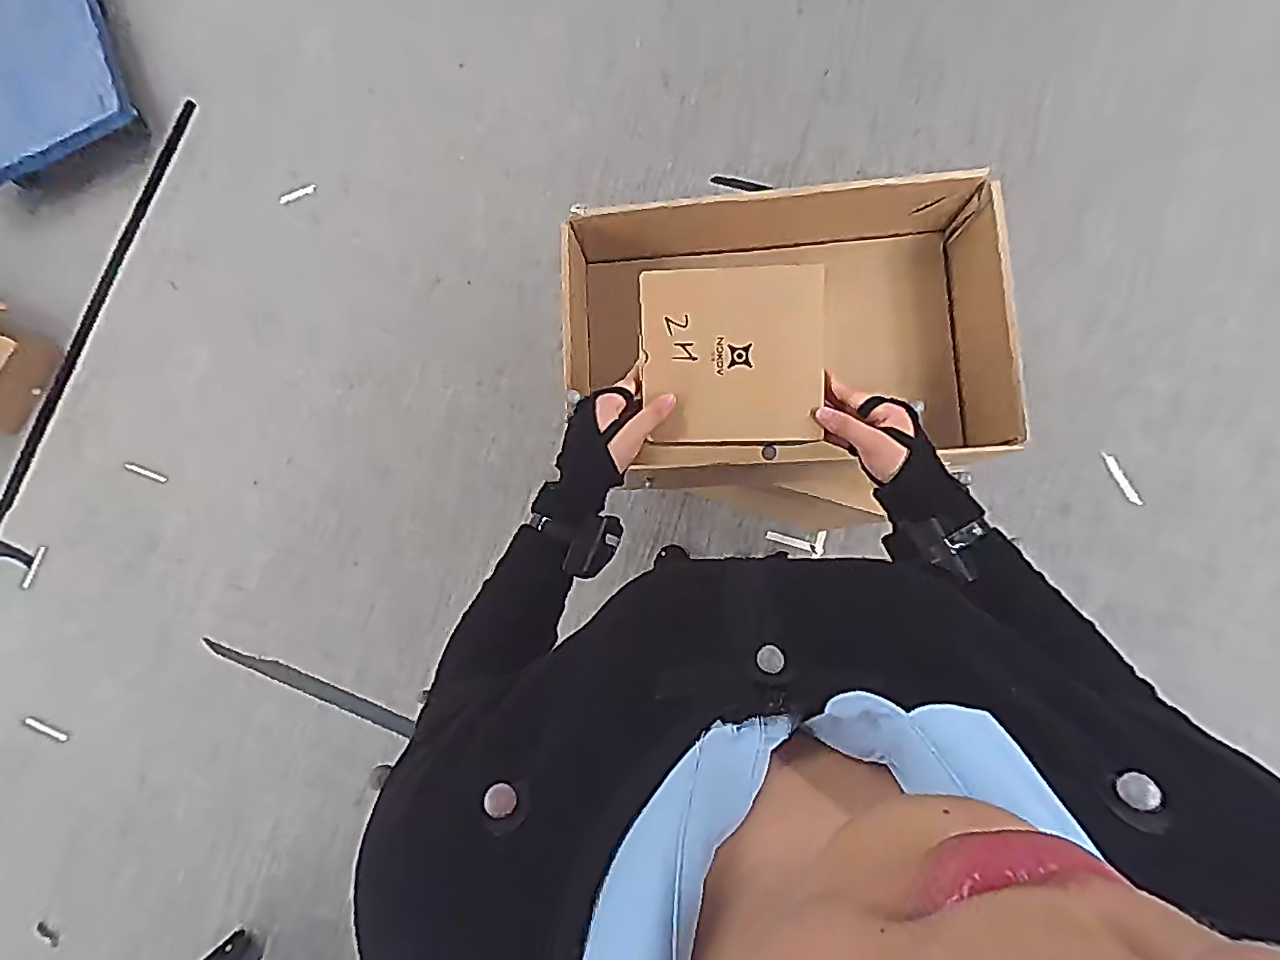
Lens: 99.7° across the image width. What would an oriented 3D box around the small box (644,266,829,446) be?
[{"bbox_3d":[0.097,-0.123,0.593,0.179,0.176,0.168,0,92,6],"label":"small box"}]
